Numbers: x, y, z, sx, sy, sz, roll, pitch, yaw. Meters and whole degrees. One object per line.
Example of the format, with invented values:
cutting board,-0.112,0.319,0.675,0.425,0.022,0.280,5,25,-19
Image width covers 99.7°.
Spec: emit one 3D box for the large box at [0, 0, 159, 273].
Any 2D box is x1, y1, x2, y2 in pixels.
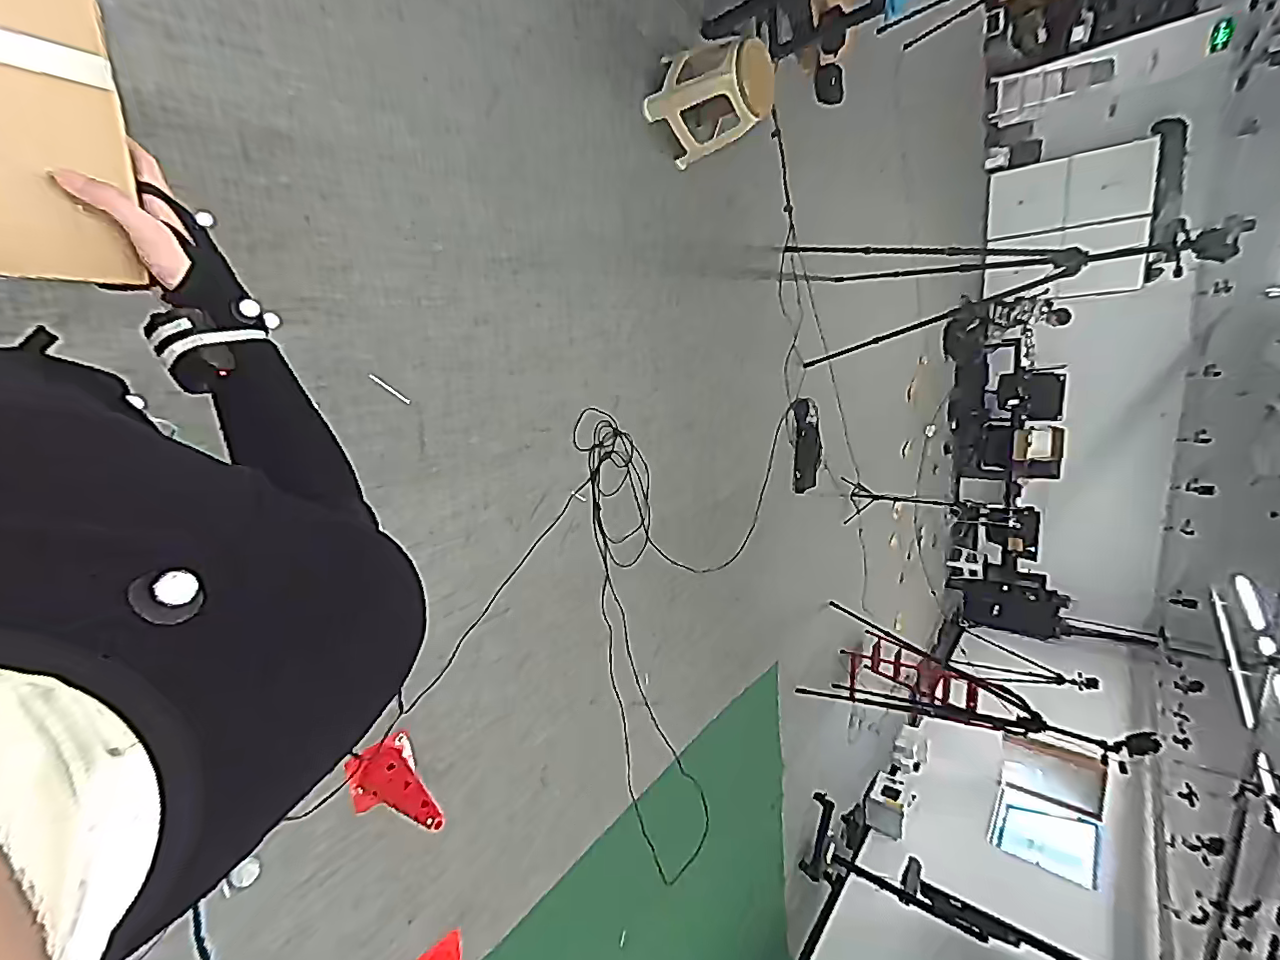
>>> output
large box,-0.662,-0.333,0.381,0.408,0.320,0.320,-17,122,-47
